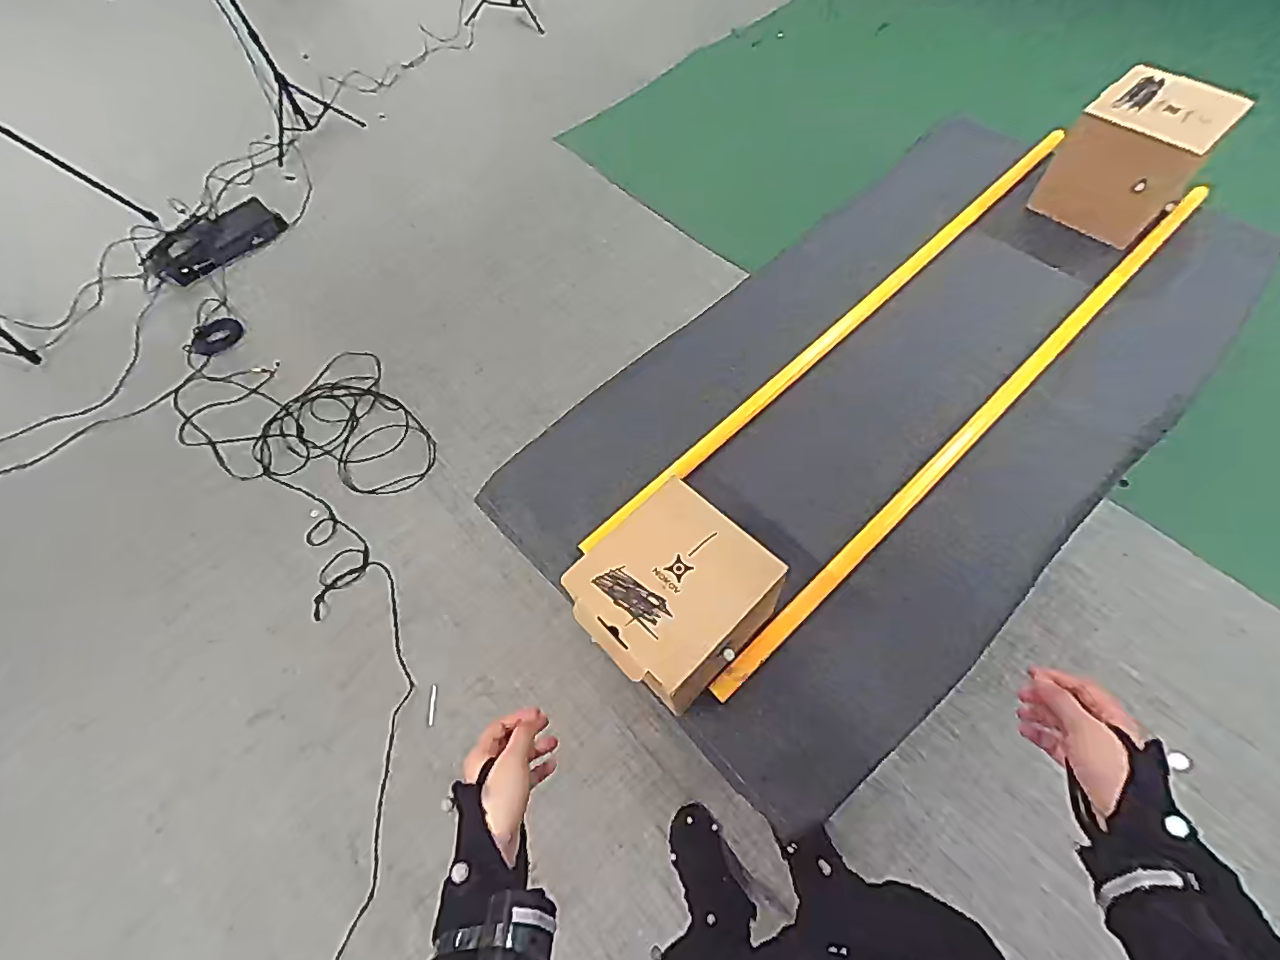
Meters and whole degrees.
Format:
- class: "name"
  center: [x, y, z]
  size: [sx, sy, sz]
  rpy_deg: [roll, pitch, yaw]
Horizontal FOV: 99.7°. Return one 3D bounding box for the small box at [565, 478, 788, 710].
- class: "small box"
  center: [0.045, 0.138, 0.625]
  size: [0.179, 0.176, 0.168]
  rpy_deg: [-42, 65, -16]
